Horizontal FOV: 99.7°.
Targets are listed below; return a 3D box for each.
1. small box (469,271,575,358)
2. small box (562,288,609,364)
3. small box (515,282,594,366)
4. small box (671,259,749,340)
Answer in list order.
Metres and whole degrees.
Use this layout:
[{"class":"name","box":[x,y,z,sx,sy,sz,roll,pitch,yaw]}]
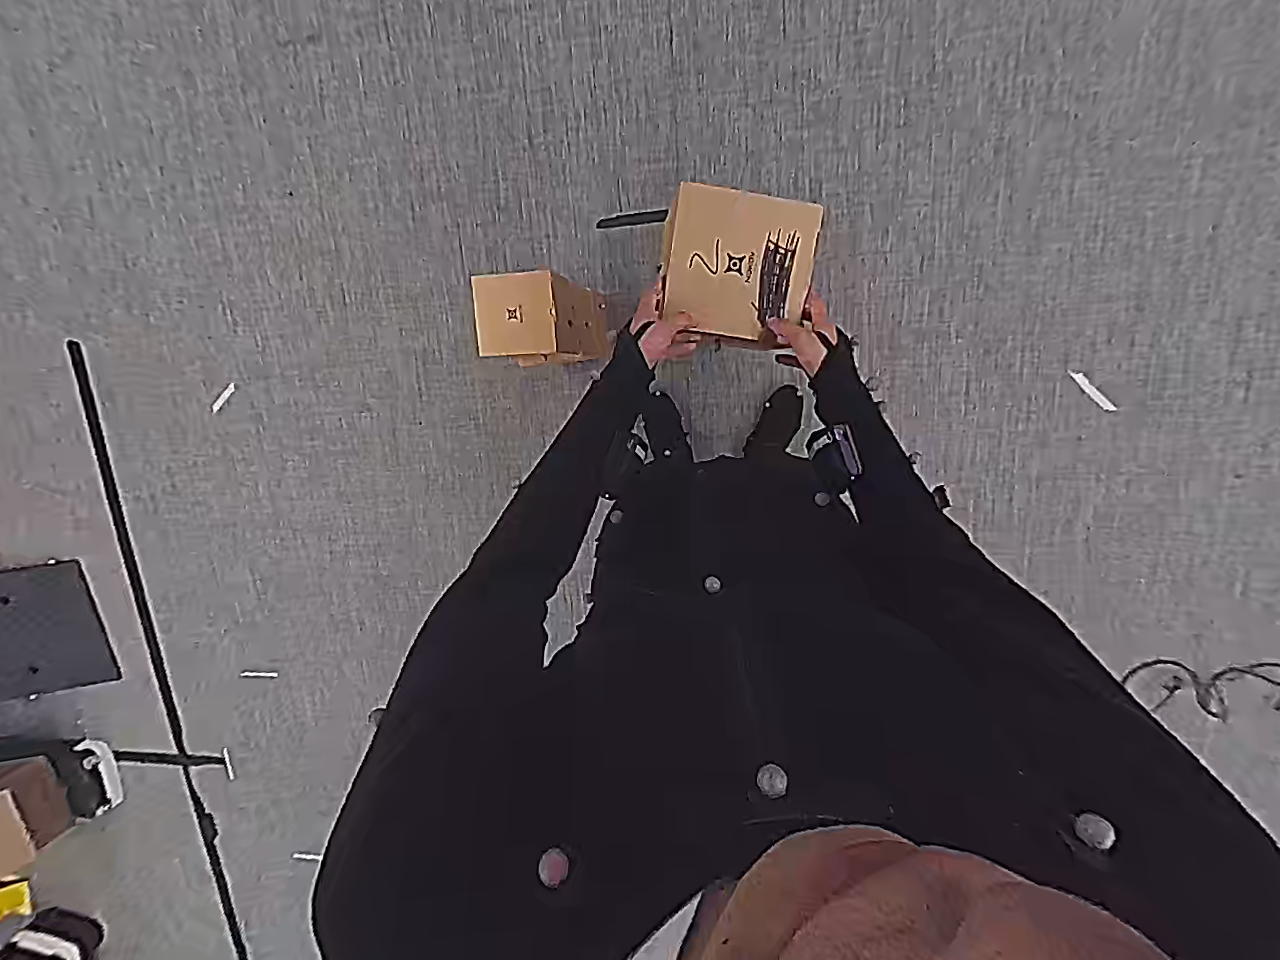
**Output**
[{"class":"small box","box":[-0.254,-0.359,1.198,0.179,0.176,0.168,-1,102,8]},{"class":"small box","box":[-0.192,-0.423,1.512,0.168,0.176,0.179,-8,101,9]},{"class":"small box","box":[-0.220,-0.383,1.355,0.168,0.176,0.179,-6,102,10]},{"class":"small box","box":[0.163,-0.427,1.295,0.179,0.176,0.168,0,102,6]}]
